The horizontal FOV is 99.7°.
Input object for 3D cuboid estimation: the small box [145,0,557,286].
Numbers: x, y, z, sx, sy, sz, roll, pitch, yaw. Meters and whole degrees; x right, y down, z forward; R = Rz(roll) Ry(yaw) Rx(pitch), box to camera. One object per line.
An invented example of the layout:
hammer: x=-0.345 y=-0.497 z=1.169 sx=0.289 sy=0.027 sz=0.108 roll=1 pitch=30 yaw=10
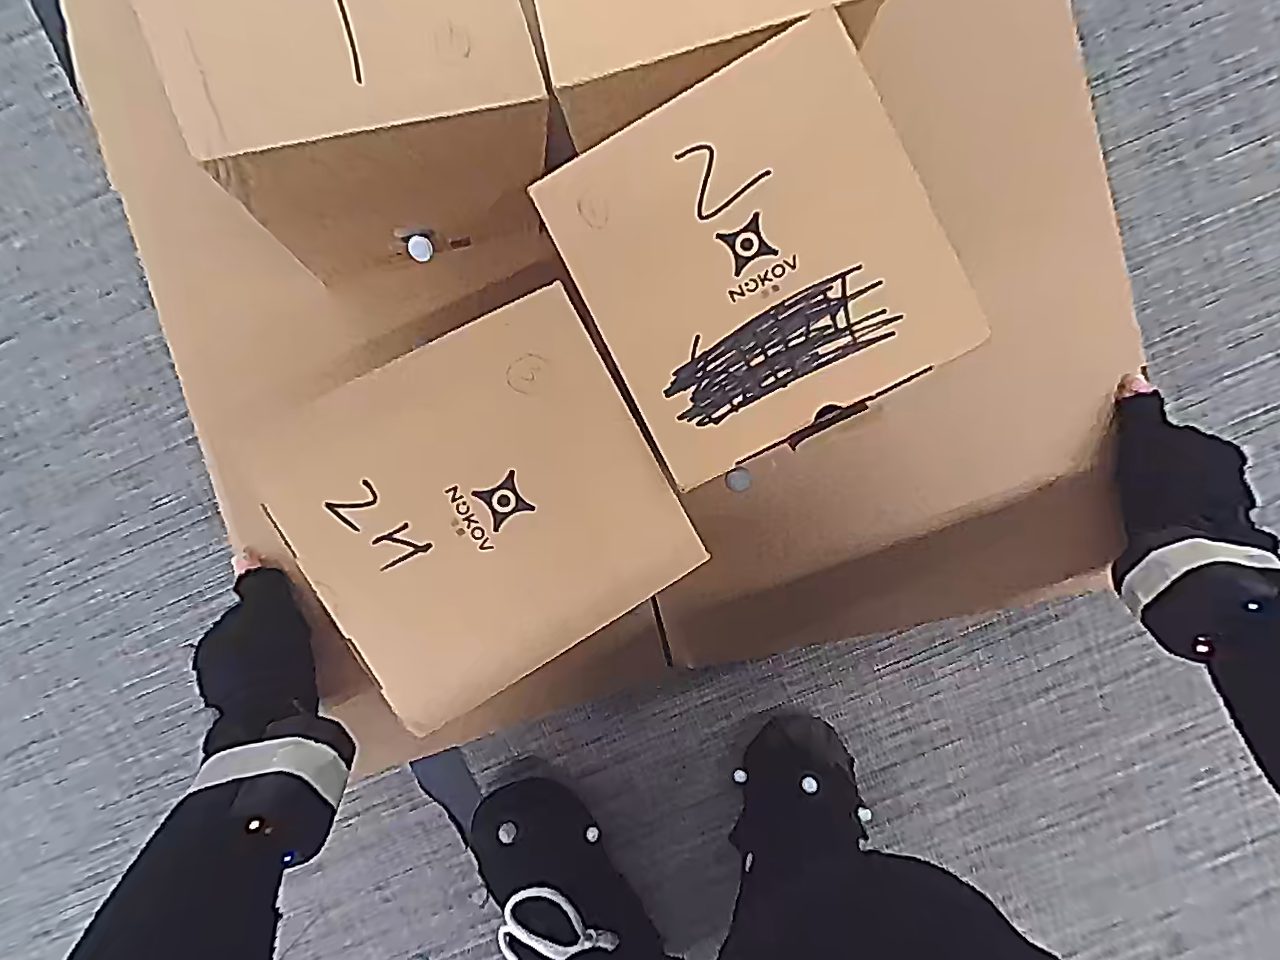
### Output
small box: x=-0.158 y=-0.244 z=0.327 sx=0.168 sy=0.176 sz=0.179 roll=-18 pitch=95 yaw=-11

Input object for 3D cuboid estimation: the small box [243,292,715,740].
small box: x=-0.085 y=0.013 z=0.344 sx=0.179 sy=0.176 sz=0.168 roll=-29 pitch=96 yaw=-9
